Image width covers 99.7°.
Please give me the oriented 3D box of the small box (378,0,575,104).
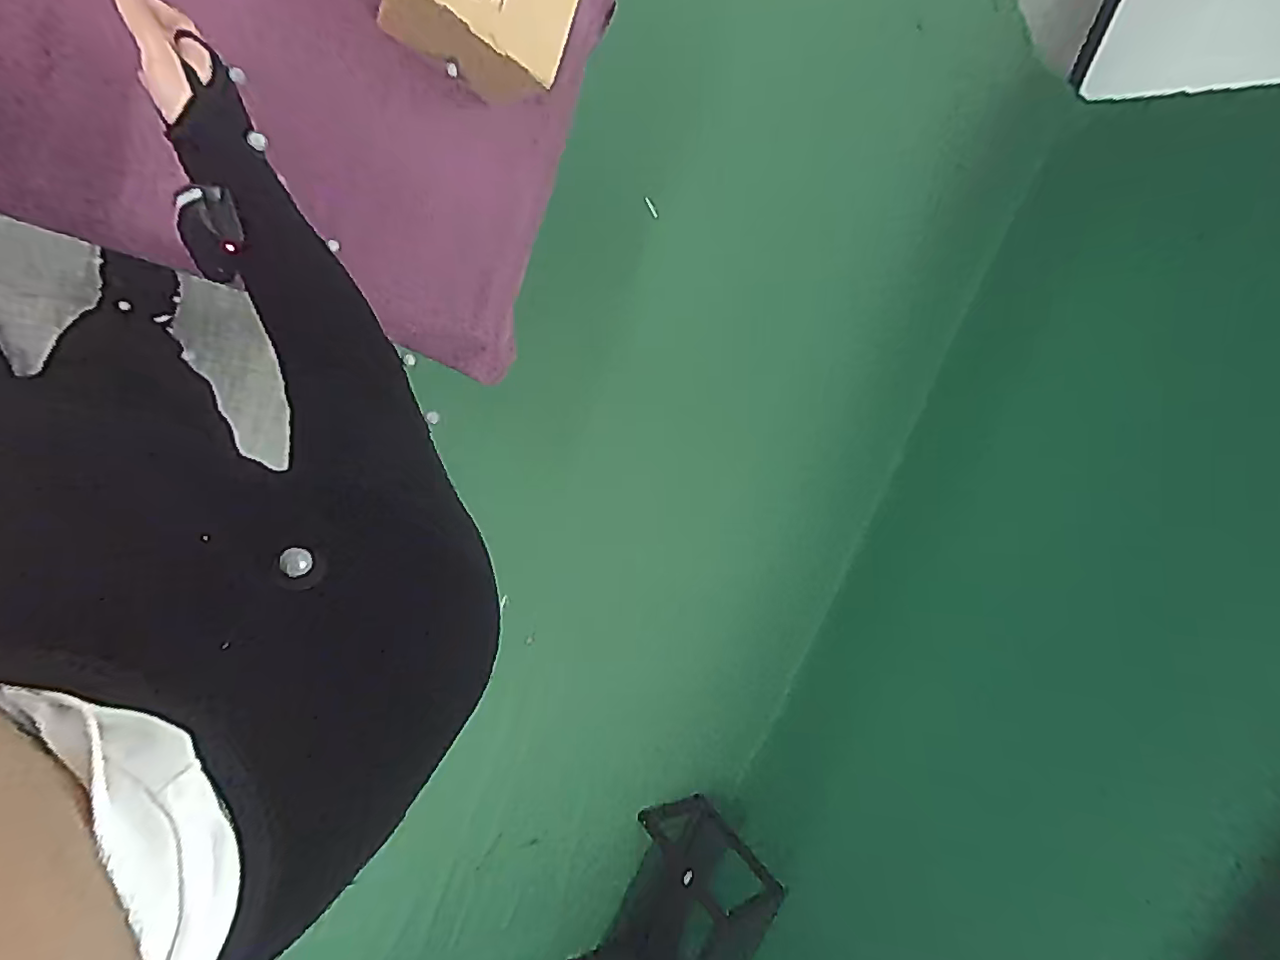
[{"bbox_3d":[-0.190,-0.589,0.641,0.168,0.176,0.179,12,104,-42],"label":"small box"}]
